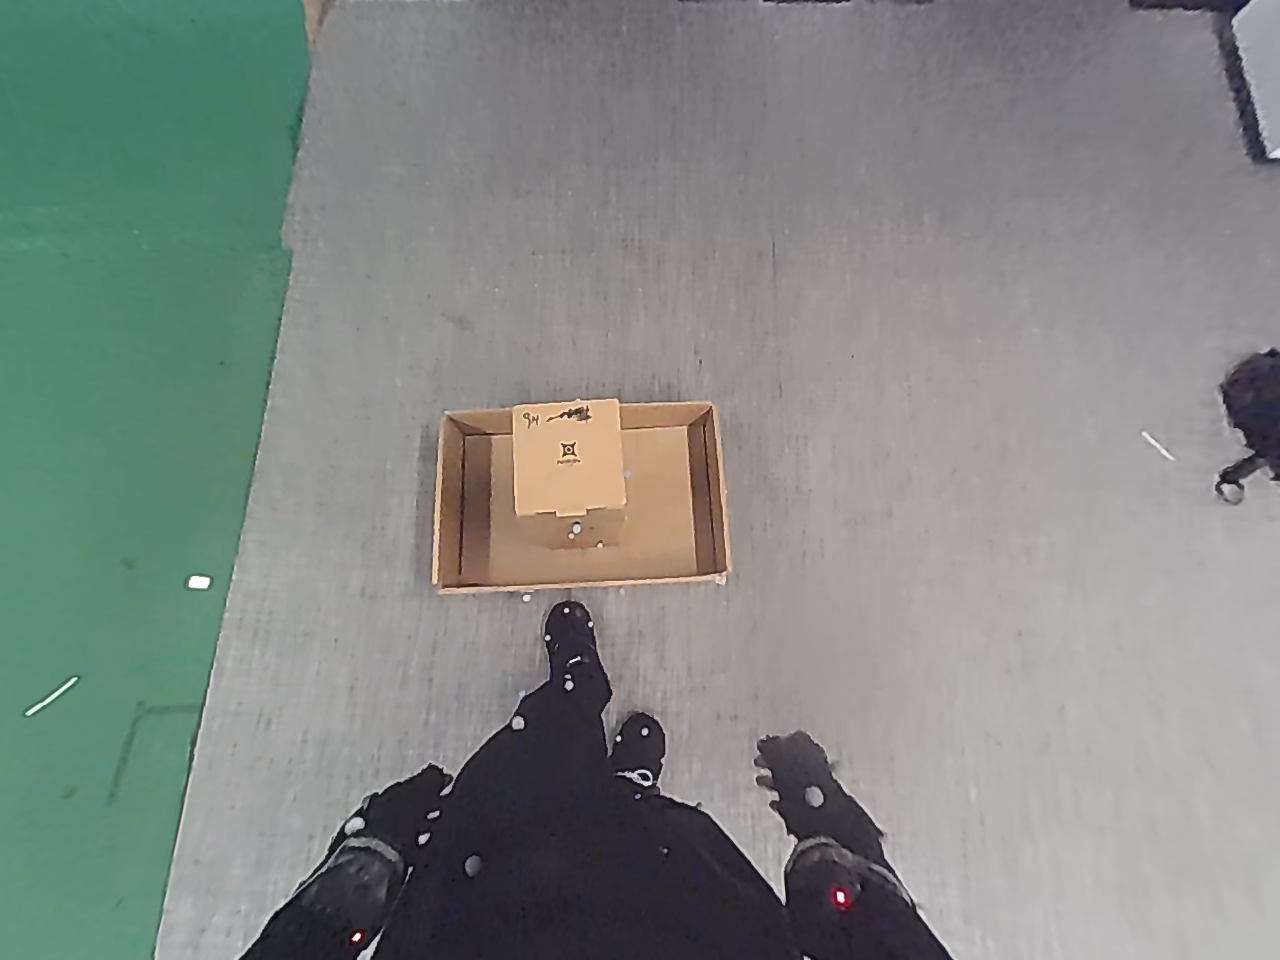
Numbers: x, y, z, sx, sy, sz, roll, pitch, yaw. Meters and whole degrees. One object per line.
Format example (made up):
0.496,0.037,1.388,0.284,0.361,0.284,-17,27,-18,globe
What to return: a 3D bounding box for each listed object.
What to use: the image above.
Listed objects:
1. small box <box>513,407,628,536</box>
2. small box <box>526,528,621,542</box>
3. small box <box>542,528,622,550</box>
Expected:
-0.111,-0.005,0.915,0.168,0.176,0.179,-7,75,-2,small box
-0.124,0.029,1.072,0.179,0.176,0.168,-2,75,-1,small box
-0.127,0.060,1.216,0.168,0.176,0.179,-3,74,-2,small box
